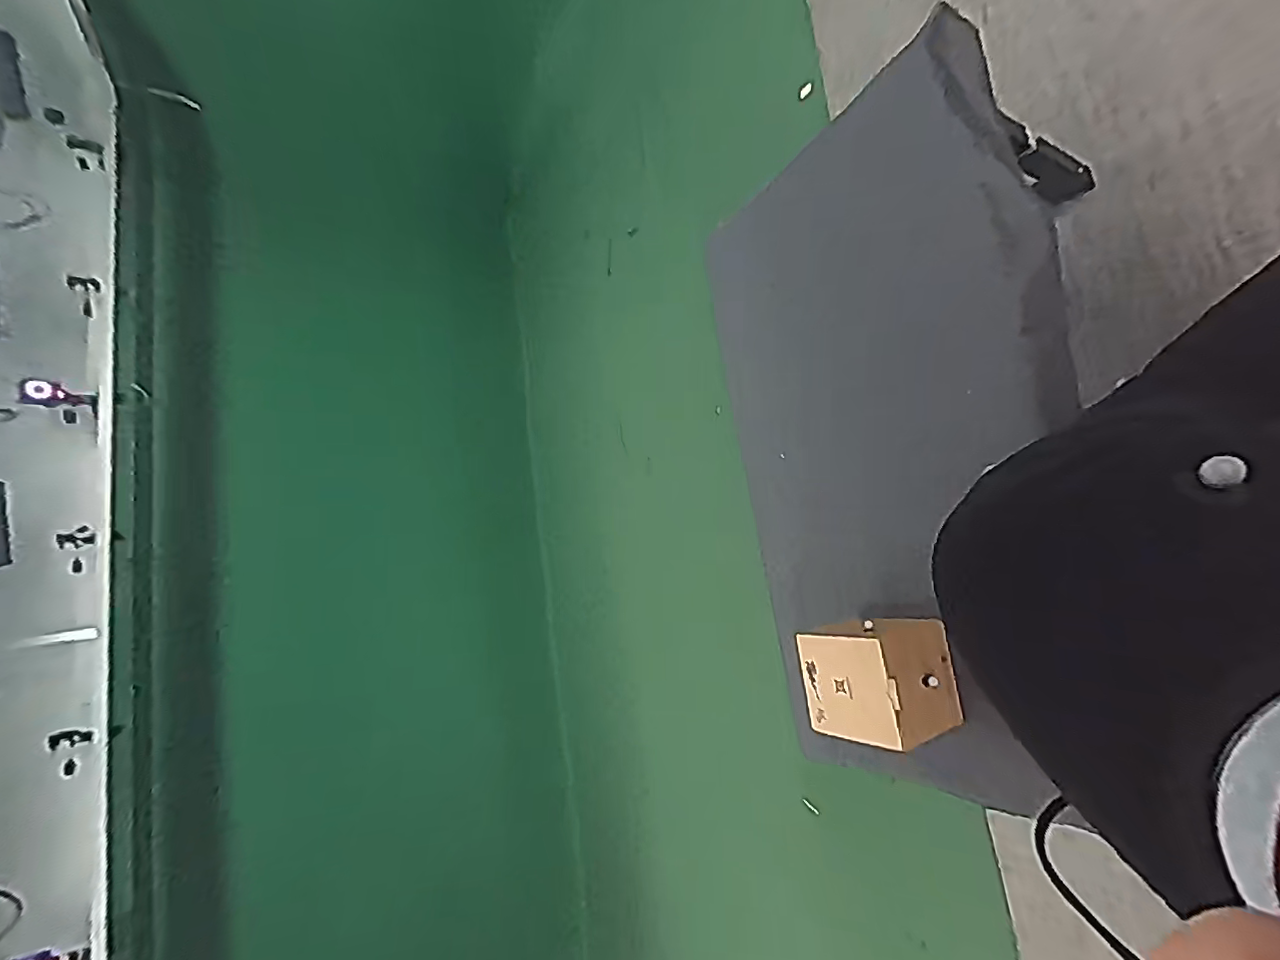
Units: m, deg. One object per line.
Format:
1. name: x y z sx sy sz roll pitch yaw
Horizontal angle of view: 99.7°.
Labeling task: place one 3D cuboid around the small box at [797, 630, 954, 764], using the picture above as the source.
1. small box: 0.398 0.350 0.909 0.179 0.176 0.168 -21 72 56
